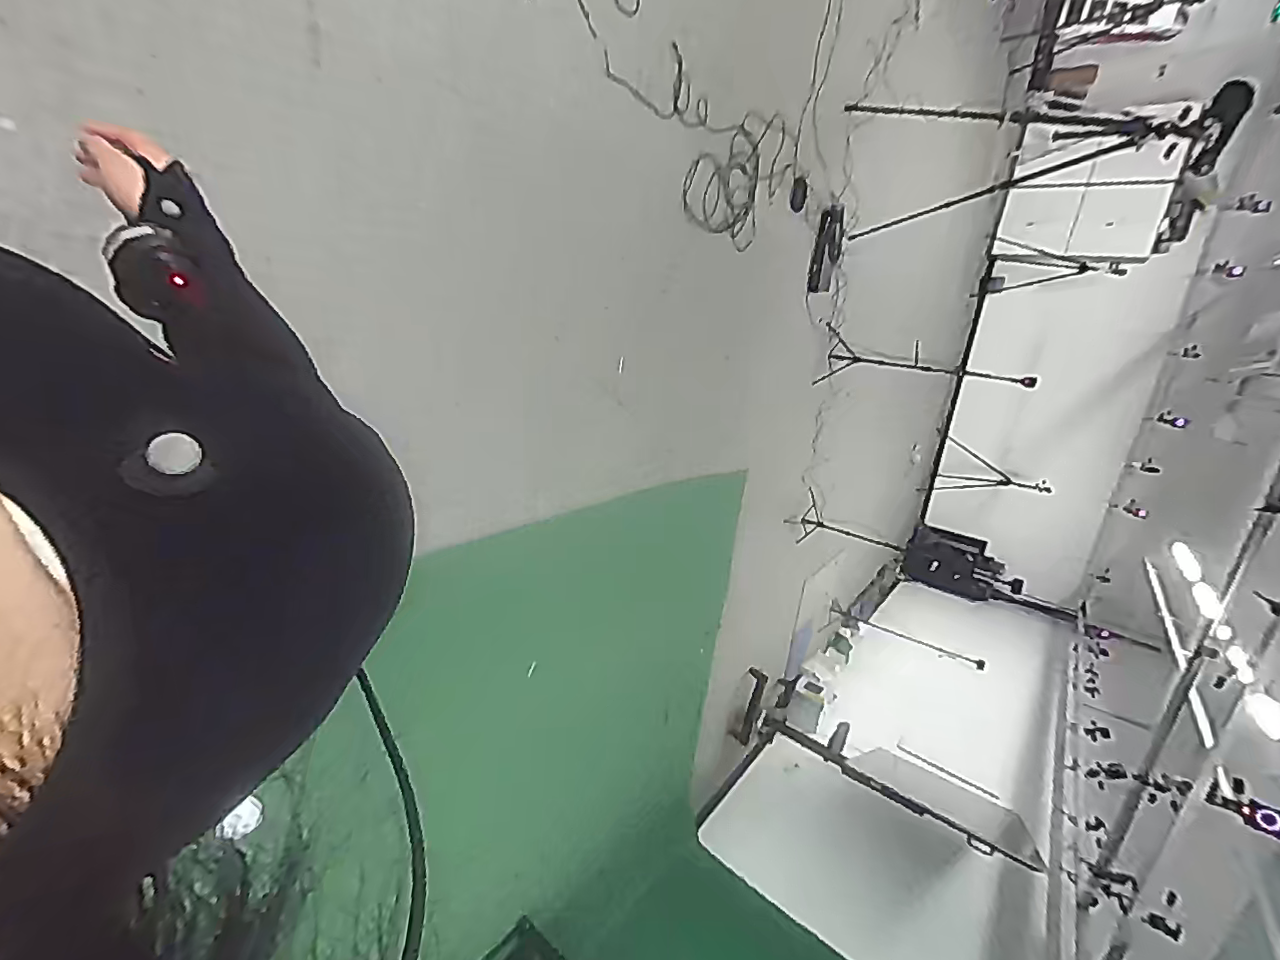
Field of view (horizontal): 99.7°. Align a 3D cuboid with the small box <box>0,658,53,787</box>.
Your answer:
[{"bbox_3d":[-1.193,0.442,0.967,0.168,0.176,0.179,-11,113,-50],"label":"small box"}]
